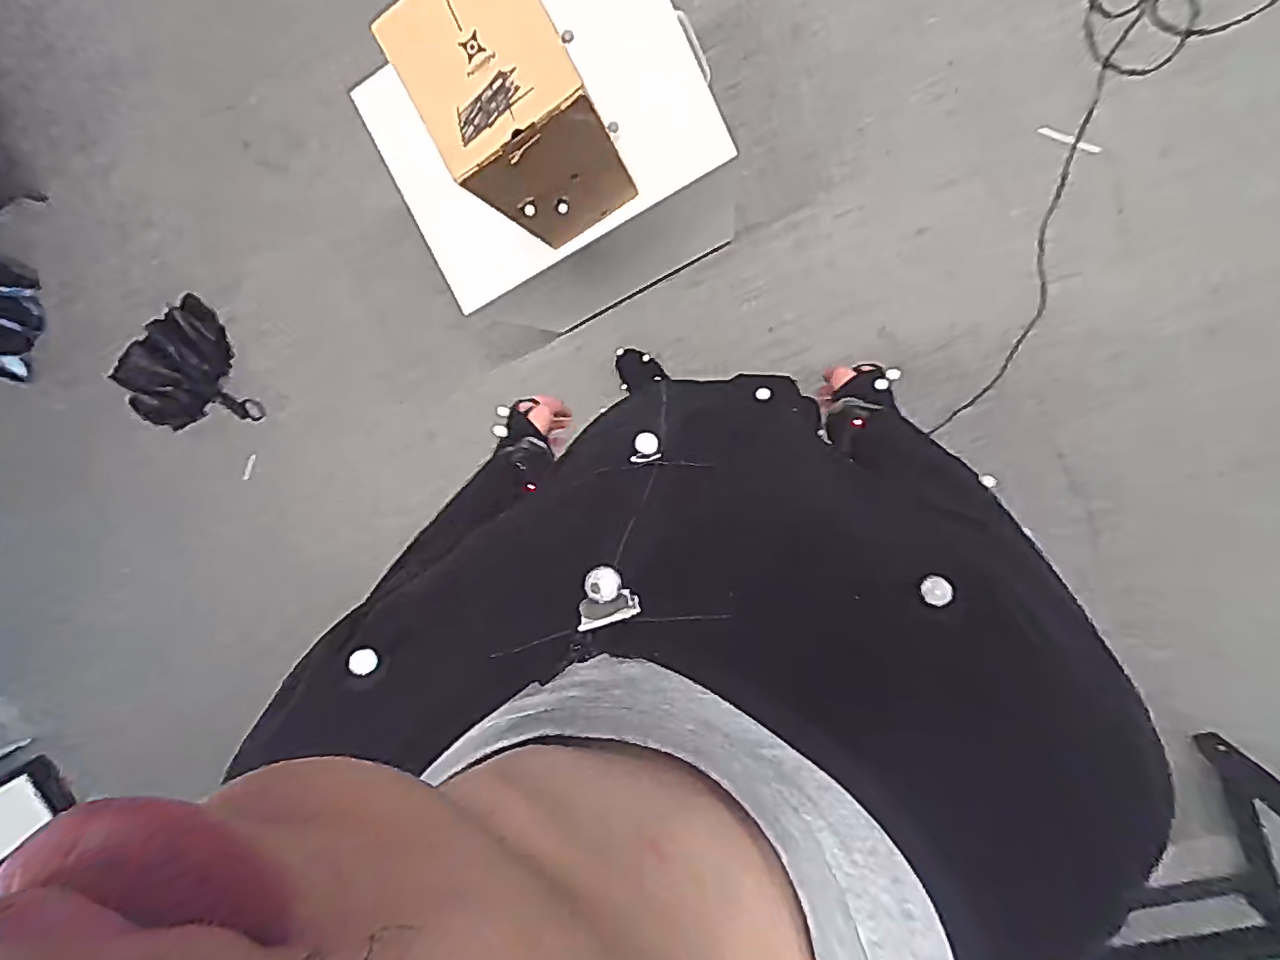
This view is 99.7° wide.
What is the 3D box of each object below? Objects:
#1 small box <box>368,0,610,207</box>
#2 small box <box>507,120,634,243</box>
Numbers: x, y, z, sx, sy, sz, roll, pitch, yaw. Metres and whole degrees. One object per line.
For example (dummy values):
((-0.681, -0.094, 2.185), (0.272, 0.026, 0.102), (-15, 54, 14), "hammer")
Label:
((-0.154, -0.441, 0.614), (0.168, 0.176, 0.179), (-28, 95, 13), "small box")
((-0.127, -0.474, 0.775), (0.168, 0.176, 0.179), (-29, 96, 14), "small box")
